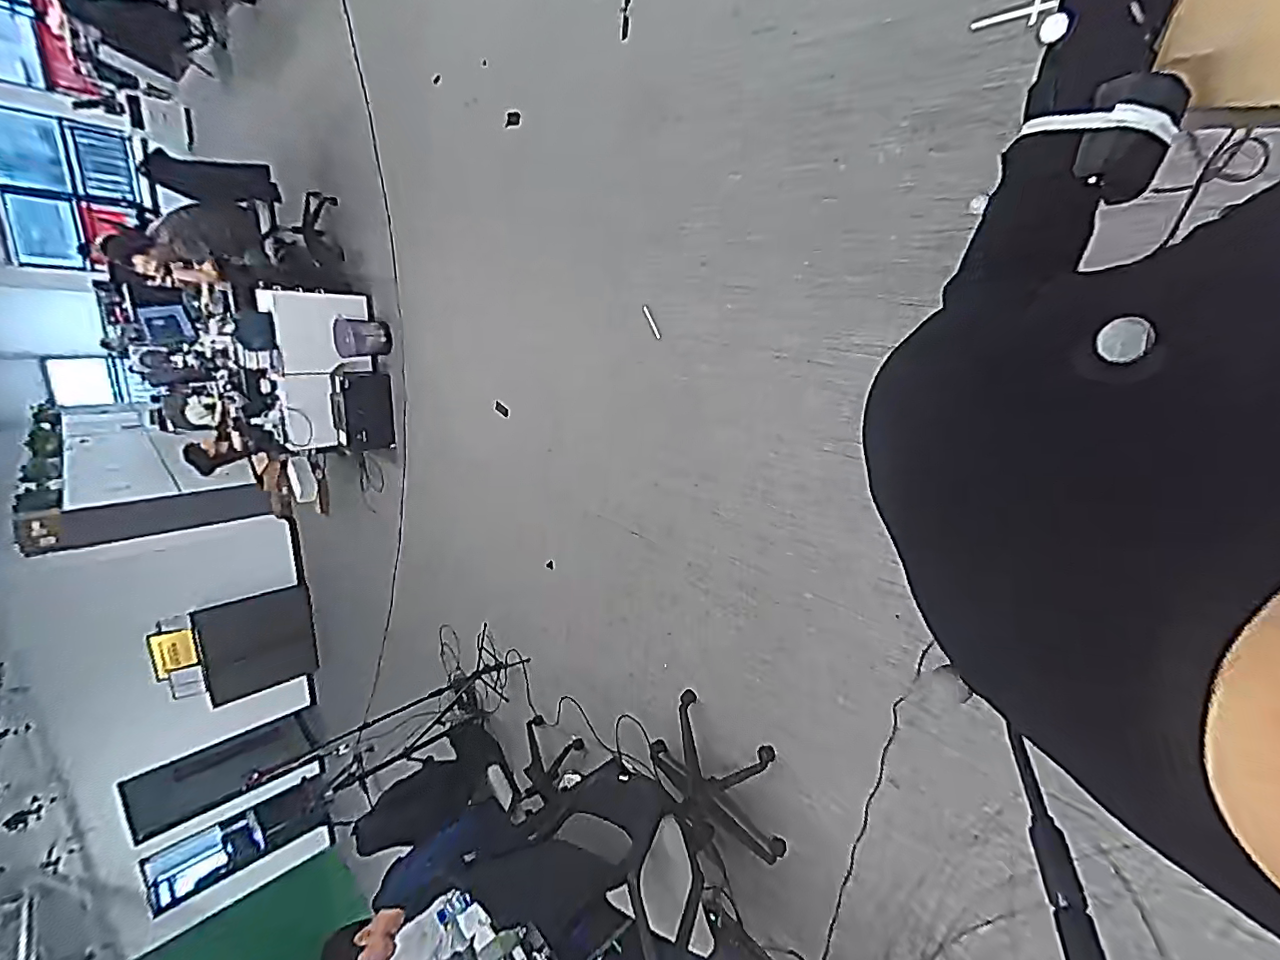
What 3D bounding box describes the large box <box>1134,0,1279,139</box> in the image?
[{"bbox_3d":[0.608,-0.392,0.311,0.408,0.320,0.320,24,129,35],"label":"large box"}]
